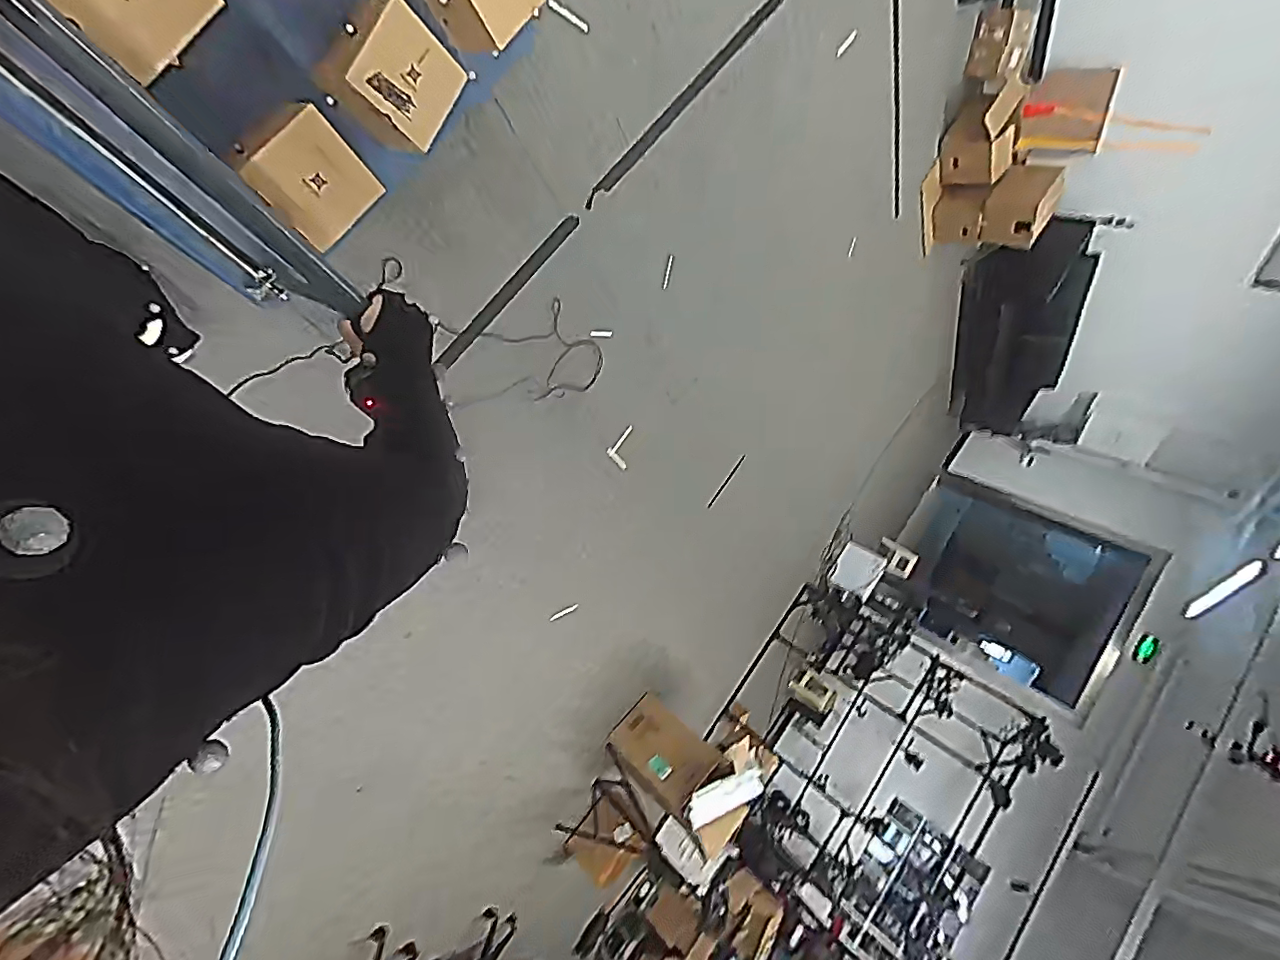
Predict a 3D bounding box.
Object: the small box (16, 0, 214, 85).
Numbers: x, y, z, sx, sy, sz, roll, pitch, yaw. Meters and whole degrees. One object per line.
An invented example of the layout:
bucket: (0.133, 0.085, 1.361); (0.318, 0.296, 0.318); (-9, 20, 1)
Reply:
small box: (-0.748, -0.685, 0.748); (0.179, 0.176, 0.168); (-55, 145, -7)

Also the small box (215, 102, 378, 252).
small box: (-0.630, -0.552, 0.988); (0.179, 0.176, 0.168); (-53, 144, -11)

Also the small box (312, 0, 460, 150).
small box: (-0.484, -0.761, 1.022); (0.168, 0.176, 0.179); (30, 89, -55)

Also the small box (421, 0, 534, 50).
small box: (-0.332, -0.985, 1.057); (0.179, 0.176, 0.168); (-55, 144, -8)
